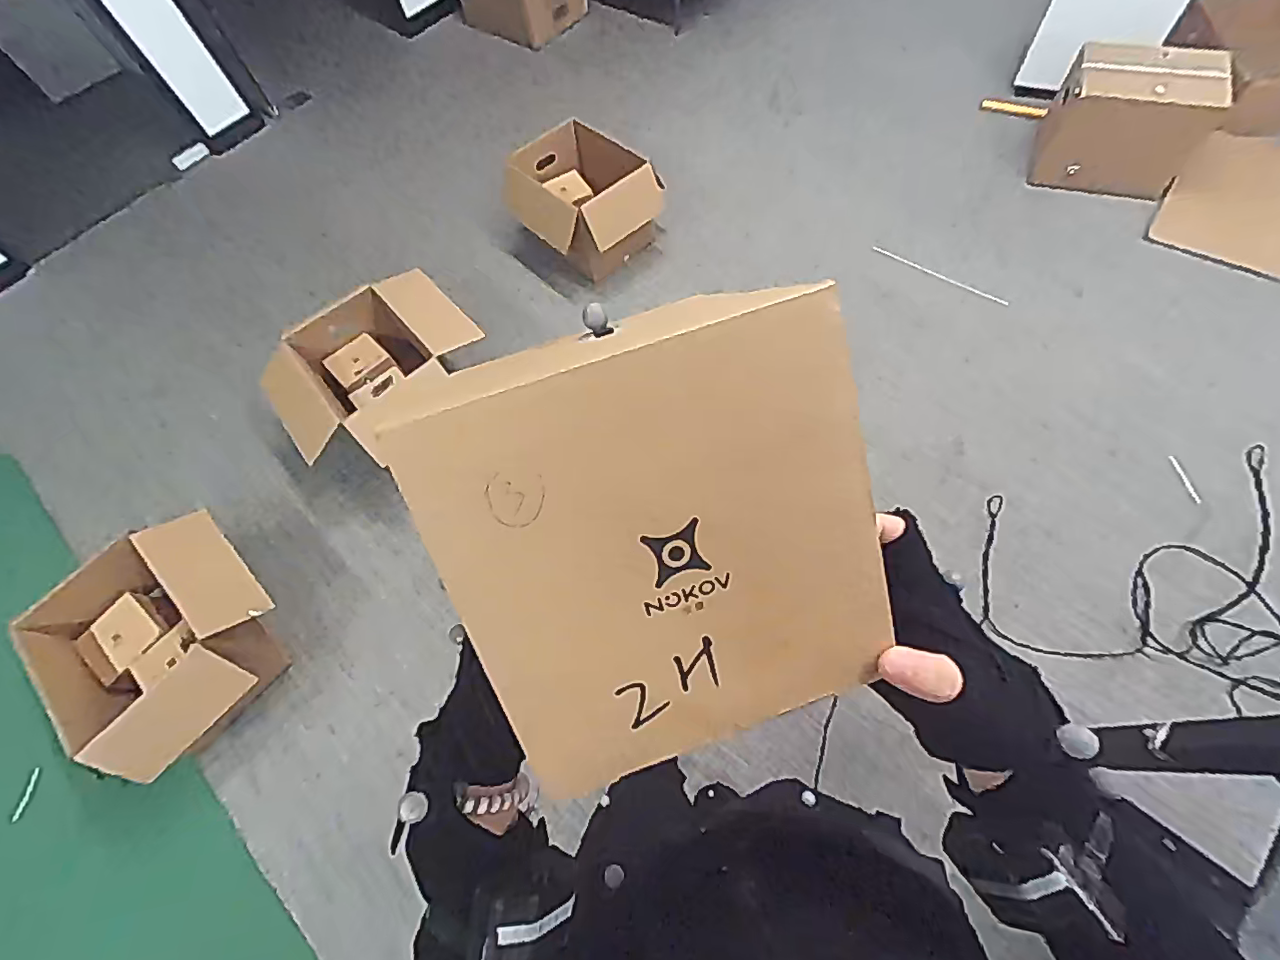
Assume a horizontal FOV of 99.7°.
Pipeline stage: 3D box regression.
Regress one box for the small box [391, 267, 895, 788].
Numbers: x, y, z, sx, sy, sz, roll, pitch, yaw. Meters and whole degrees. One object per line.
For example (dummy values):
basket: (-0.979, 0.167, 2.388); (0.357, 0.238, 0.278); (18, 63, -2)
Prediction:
small box: (0.001, 0.006, 0.284); (0.168, 0.179, 0.176); (-18, 19, -4)
